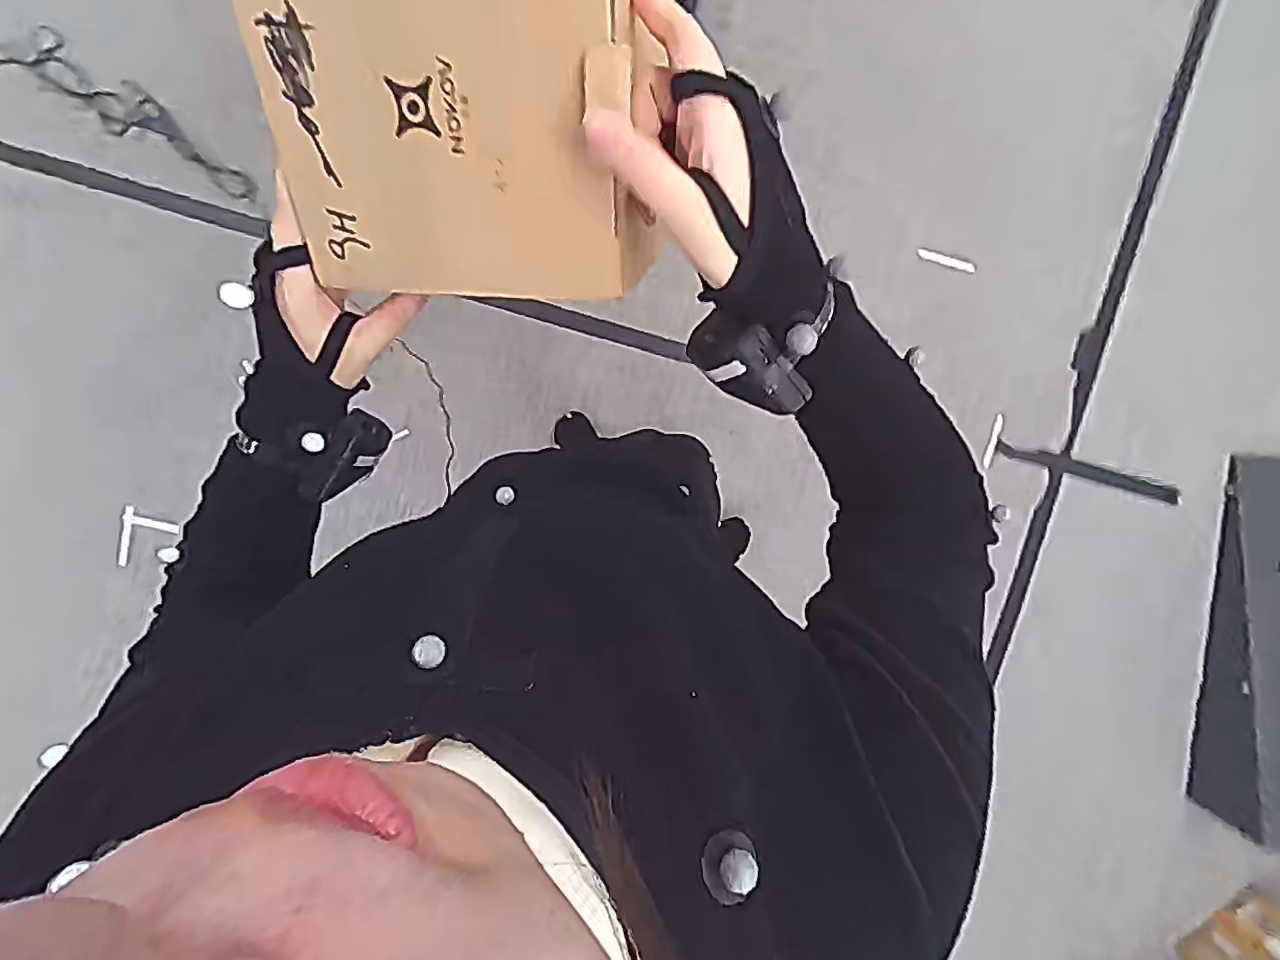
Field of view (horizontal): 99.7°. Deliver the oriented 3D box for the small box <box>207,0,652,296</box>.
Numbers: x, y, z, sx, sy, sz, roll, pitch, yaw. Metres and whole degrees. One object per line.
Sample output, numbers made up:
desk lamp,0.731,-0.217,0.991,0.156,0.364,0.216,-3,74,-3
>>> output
small box,-0.088,-0.212,0.307,0.179,0.176,0.168,5,122,7
